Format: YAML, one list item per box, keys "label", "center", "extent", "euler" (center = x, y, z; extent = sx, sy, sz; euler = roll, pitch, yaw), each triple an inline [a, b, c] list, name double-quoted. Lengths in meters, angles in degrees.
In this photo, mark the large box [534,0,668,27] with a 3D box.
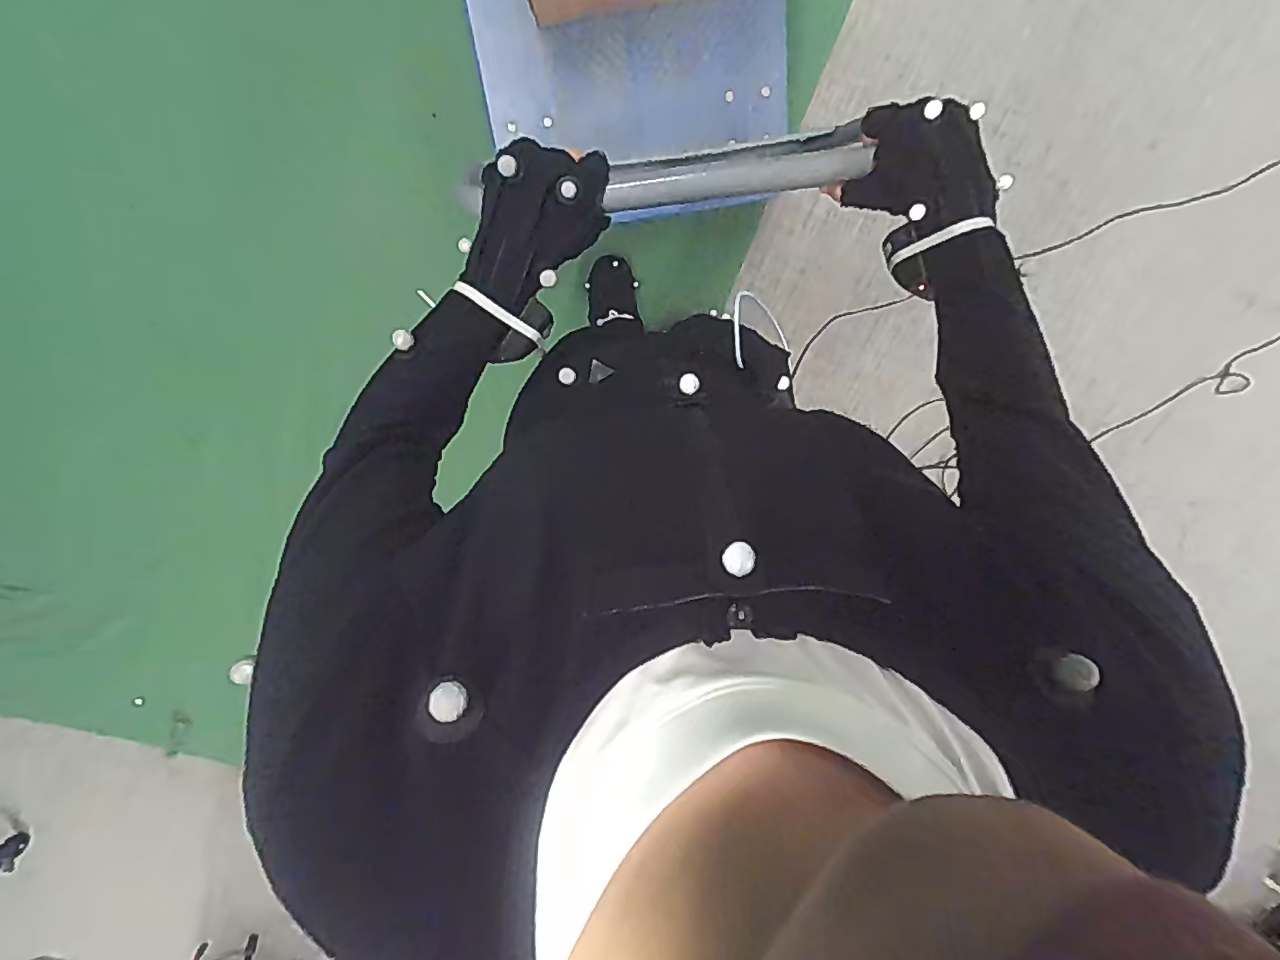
- label: "large box"
  center: [-0.002, -0.937, 0.786]
  extent: [0.408, 0.320, 0.320]
  euler: [-11, 113, 2]
